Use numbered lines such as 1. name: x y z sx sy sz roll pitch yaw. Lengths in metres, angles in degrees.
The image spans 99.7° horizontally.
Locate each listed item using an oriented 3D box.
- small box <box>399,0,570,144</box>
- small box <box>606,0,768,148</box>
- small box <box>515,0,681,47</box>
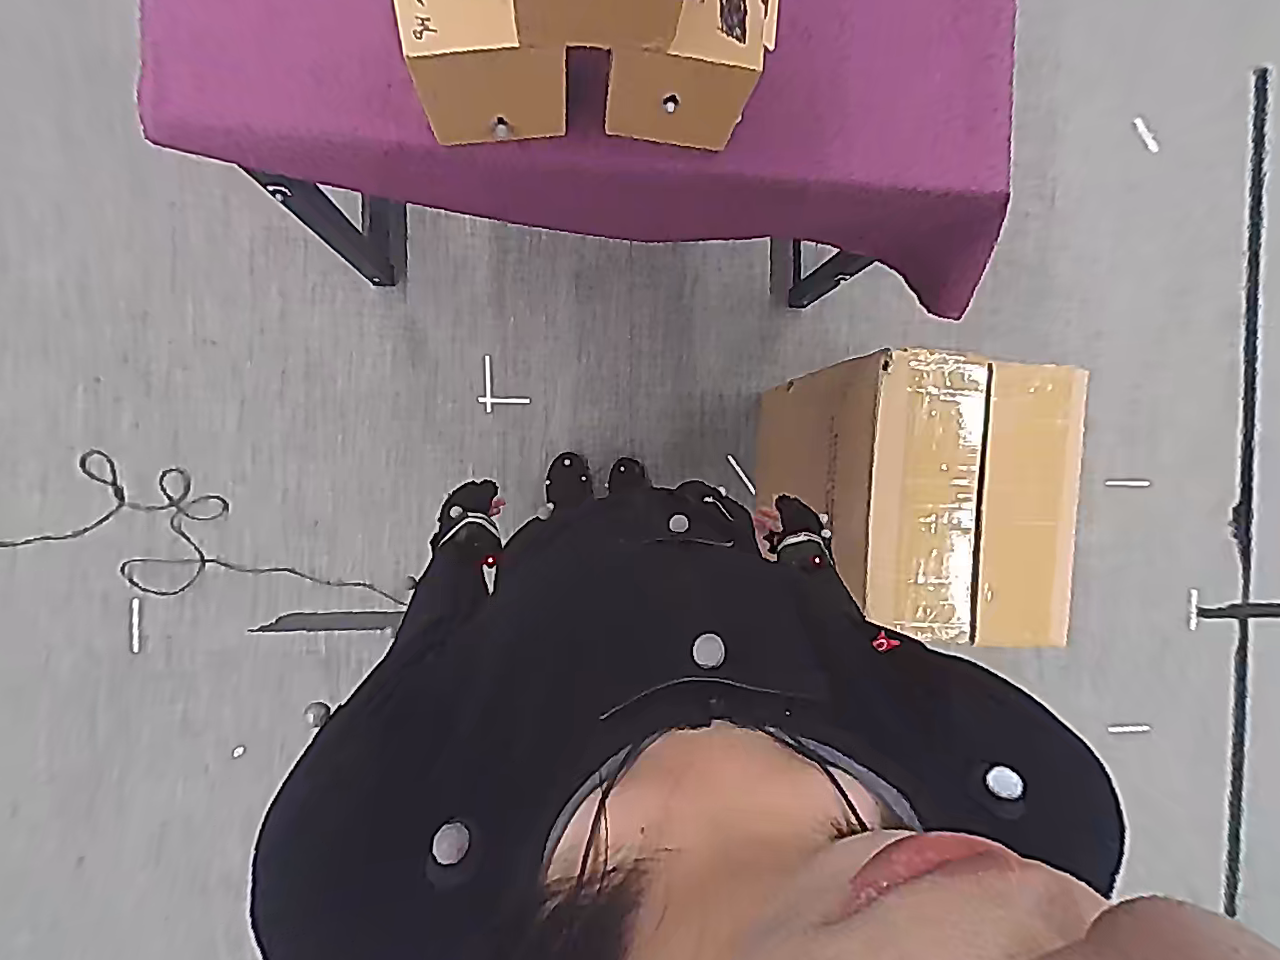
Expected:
1. small box: -0.189 -0.547 0.665 0.179 0.176 0.168 -10 92 -8
2. small box: 0.053 -0.562 0.695 0.179 0.176 0.168 5 90 -7
3. small box: -0.041 -0.561 0.519 0.179 0.176 0.168 -3 93 -8
